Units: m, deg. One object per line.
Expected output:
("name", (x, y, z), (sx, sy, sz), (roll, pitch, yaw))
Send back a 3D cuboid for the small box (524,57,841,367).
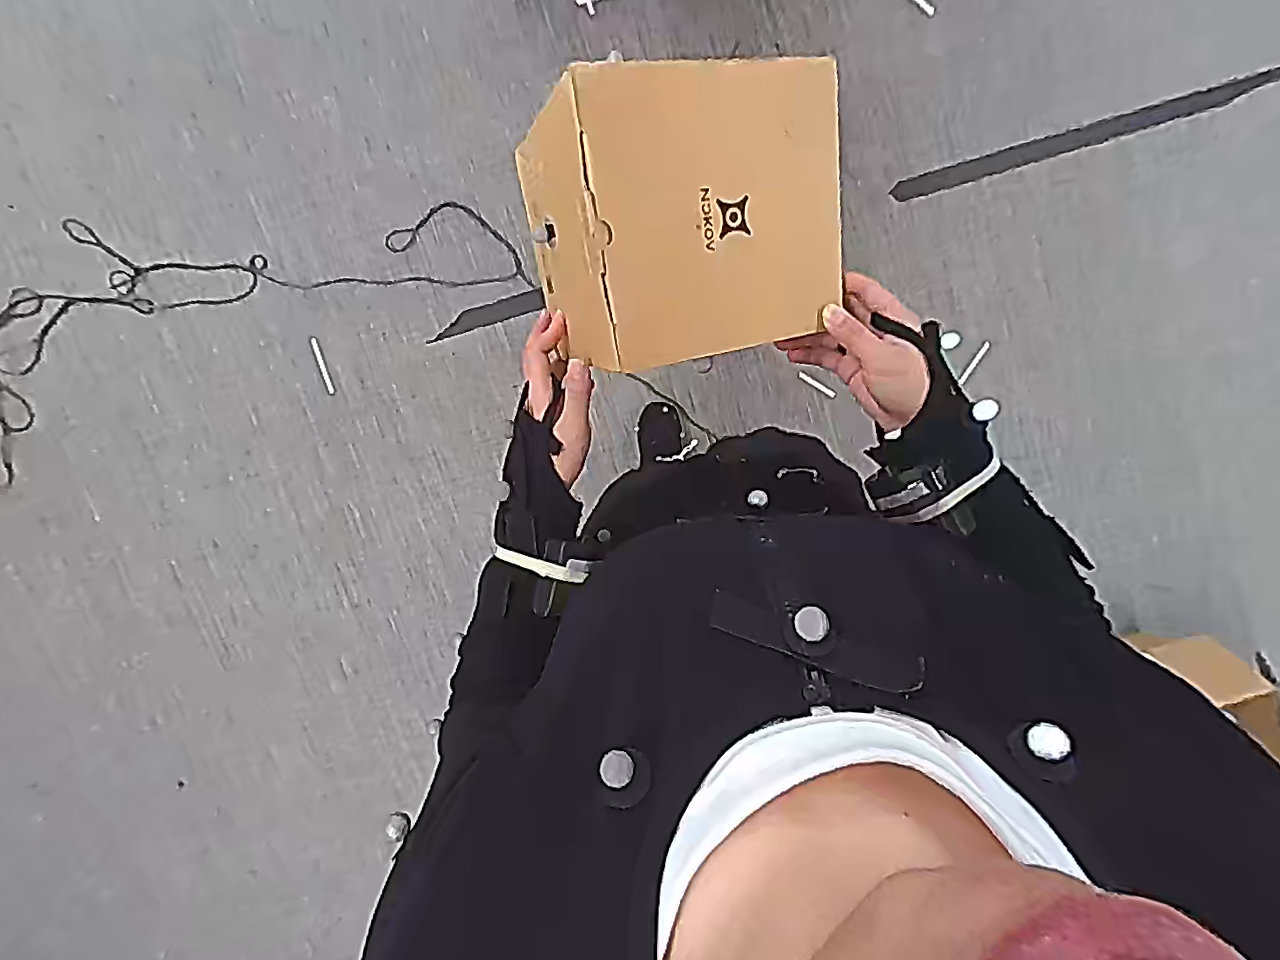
("small box", (0.026, -0.189, 0.410), (0.179, 0.176, 0.168), (-16, 111, -17))
